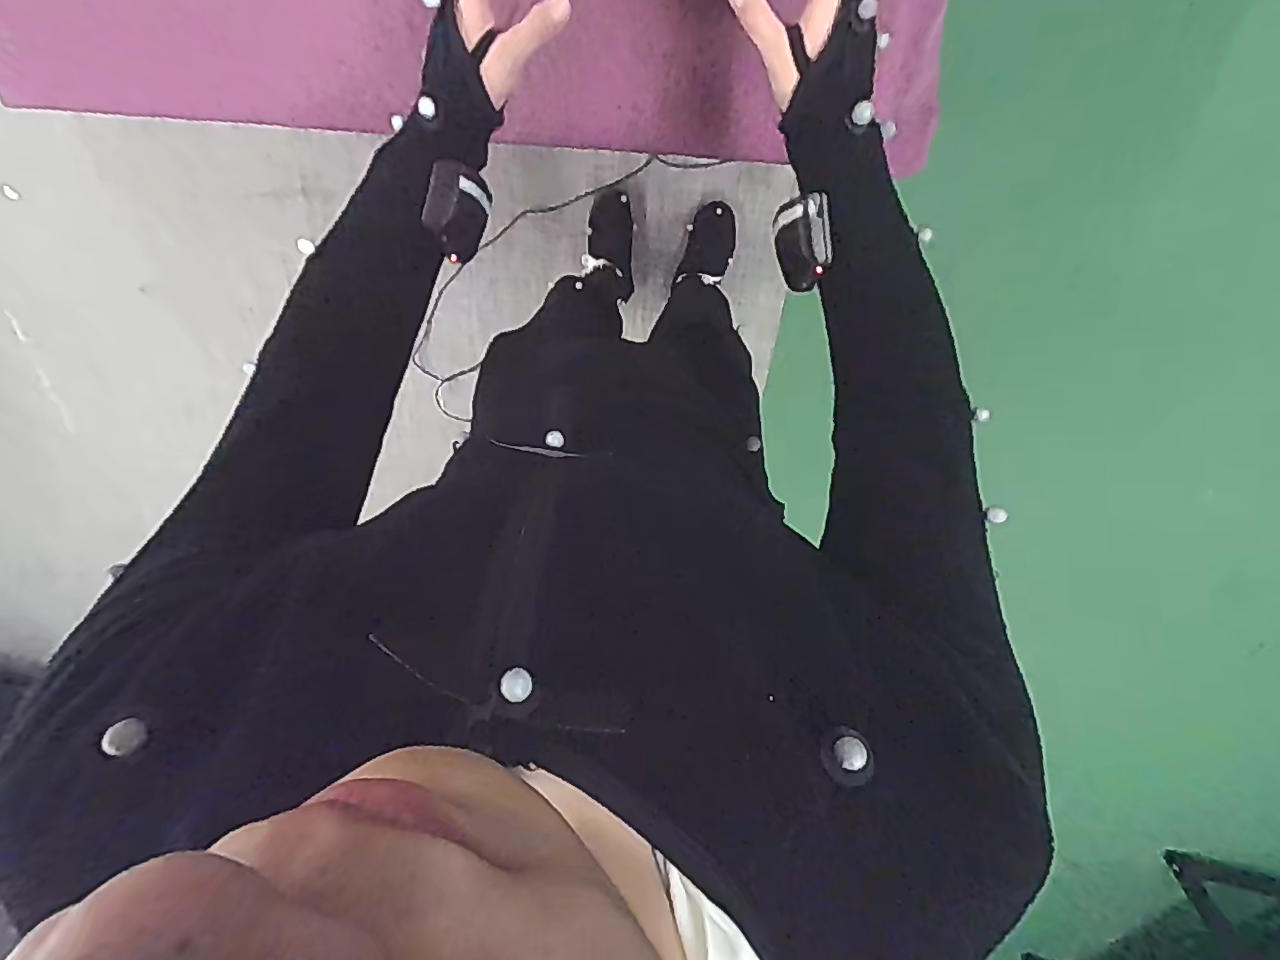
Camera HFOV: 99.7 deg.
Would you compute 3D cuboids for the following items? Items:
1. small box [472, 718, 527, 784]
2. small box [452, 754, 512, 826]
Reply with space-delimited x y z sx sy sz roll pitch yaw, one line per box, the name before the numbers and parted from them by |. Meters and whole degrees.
small box | -0.572 1.106 2.216 0.168 0.176 0.179 6 122 6
small box | -0.601 1.188 2.079 0.168 0.176 0.179 7 122 6
